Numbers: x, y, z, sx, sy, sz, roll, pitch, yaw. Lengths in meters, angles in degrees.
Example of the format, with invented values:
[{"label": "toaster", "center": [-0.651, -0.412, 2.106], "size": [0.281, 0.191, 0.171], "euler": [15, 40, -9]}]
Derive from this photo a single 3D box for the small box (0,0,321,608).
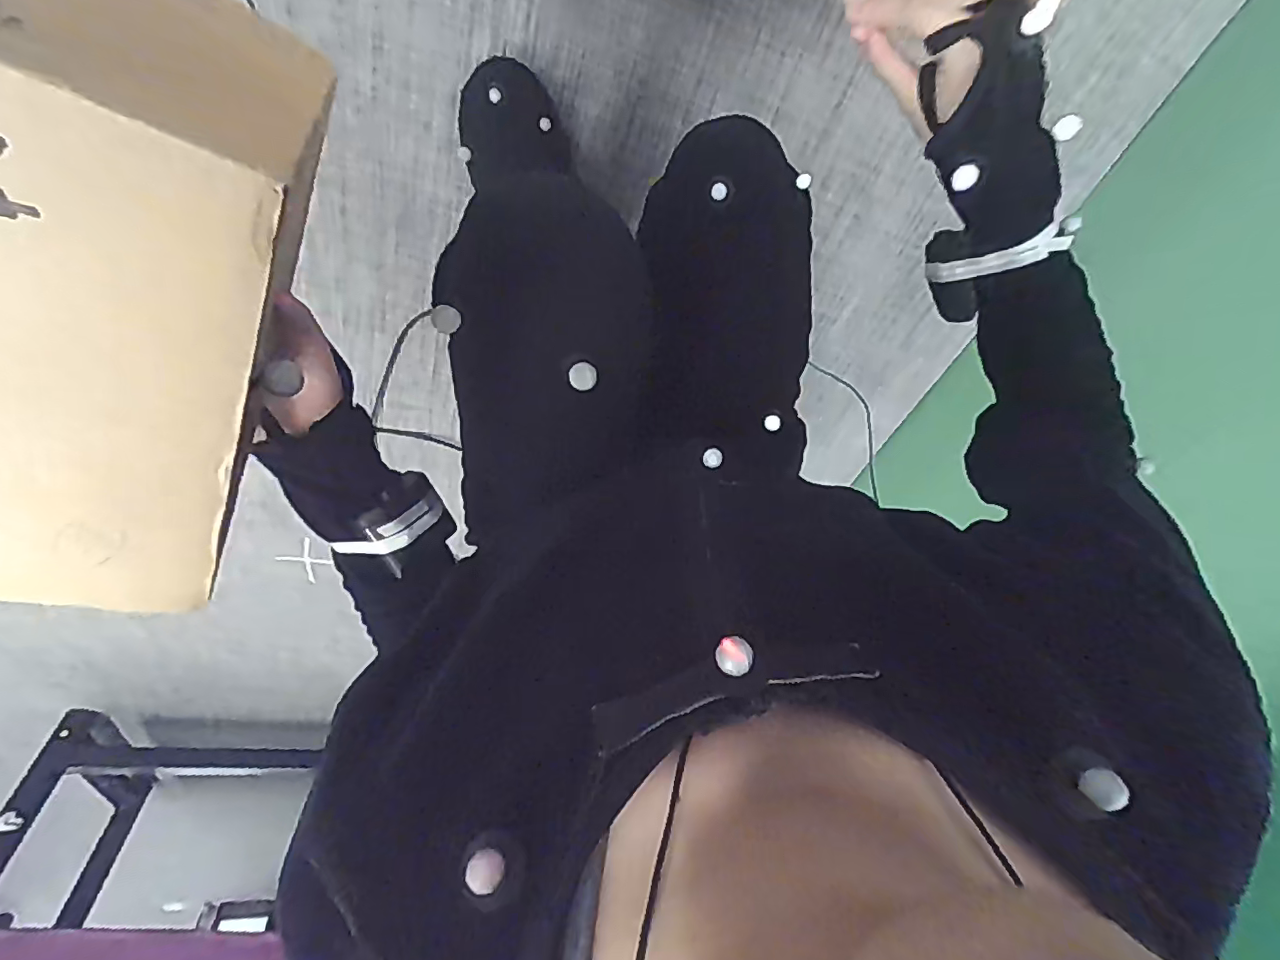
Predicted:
[{"label": "small box", "center": [-0.212, -0.085, 0.167], "size": [0.168, 0.176, 0.179], "euler": [14, 127, -35]}]
